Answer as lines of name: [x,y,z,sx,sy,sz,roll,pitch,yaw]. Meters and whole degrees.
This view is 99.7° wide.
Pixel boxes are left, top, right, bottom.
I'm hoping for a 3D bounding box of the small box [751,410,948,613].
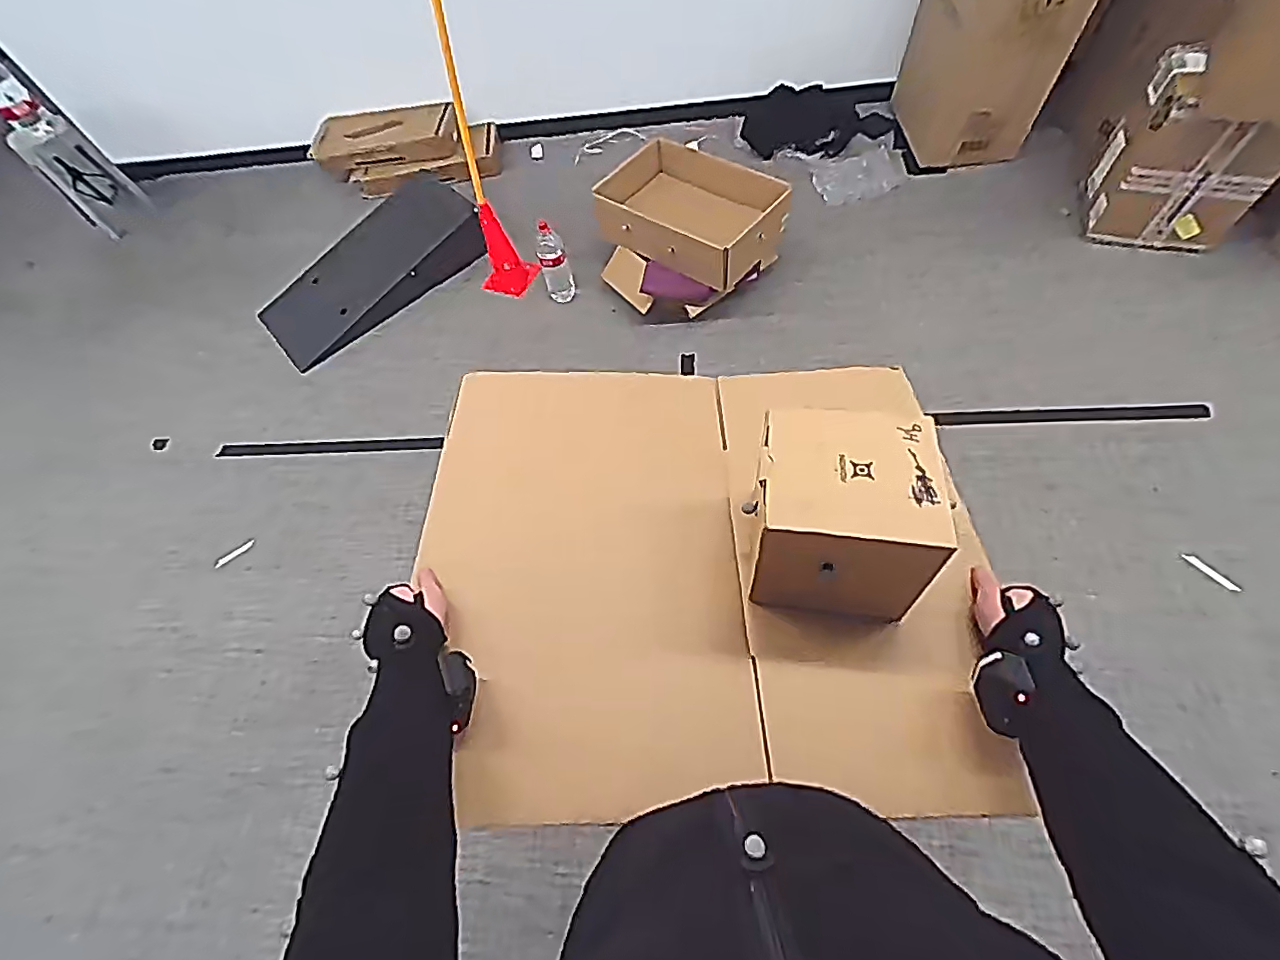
small box: [0.222,0.040,0.621,0.179,0.176,0.168,5,55,10]
